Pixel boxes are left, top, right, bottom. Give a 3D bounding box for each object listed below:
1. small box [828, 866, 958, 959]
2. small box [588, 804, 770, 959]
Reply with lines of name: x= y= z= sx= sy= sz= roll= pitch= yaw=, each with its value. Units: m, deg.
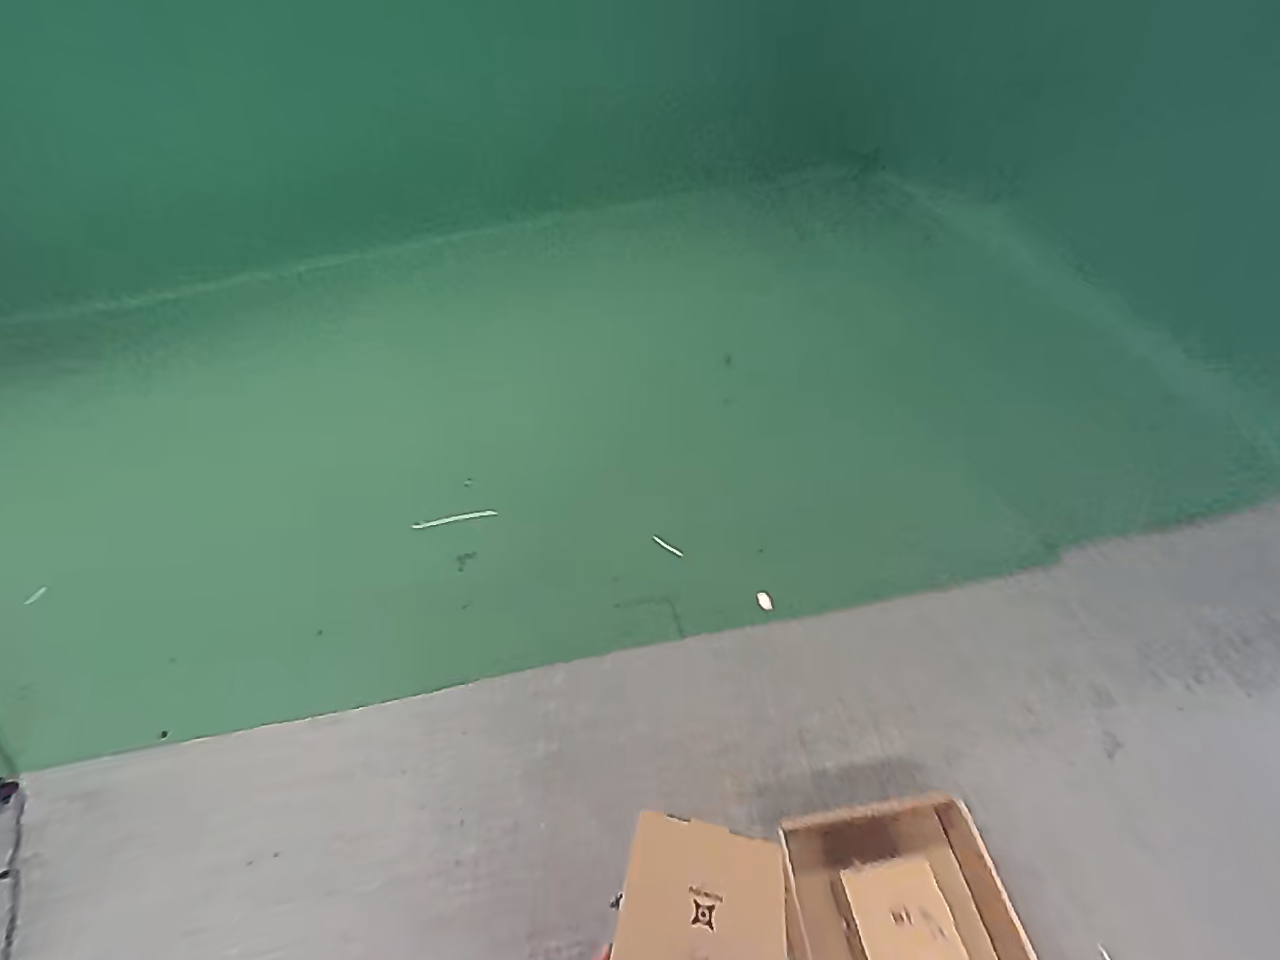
small box: x=0.481 y=0.875 z=1.056 sx=0.179 sy=0.176 sz=0.168 roll=-10 pitch=50 yaw=0
small box: x=0.034 y=0.492 z=0.565 sx=0.168 sy=0.176 sz=0.179 roll=12 pitch=25 yaw=6
